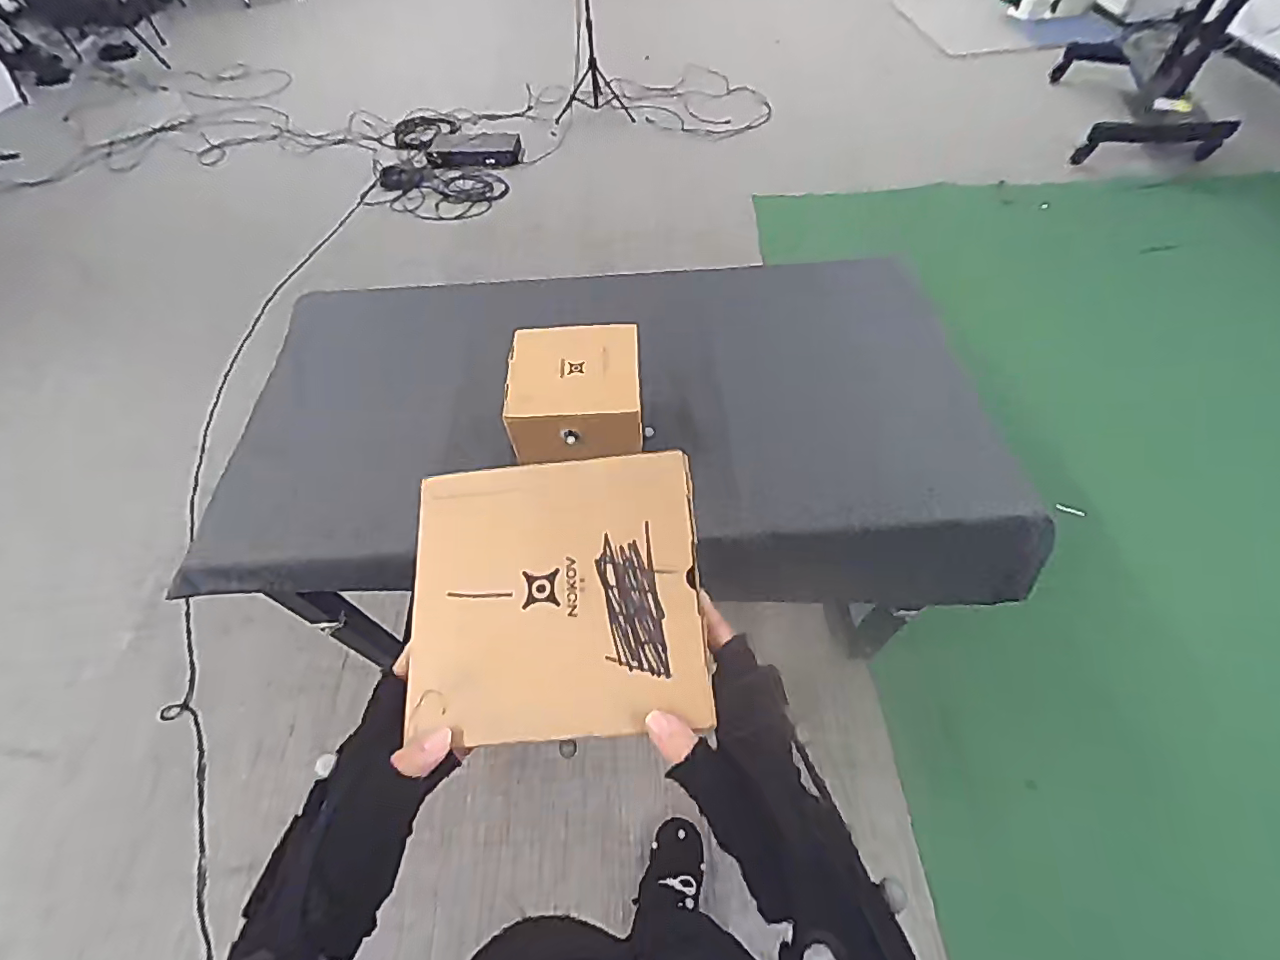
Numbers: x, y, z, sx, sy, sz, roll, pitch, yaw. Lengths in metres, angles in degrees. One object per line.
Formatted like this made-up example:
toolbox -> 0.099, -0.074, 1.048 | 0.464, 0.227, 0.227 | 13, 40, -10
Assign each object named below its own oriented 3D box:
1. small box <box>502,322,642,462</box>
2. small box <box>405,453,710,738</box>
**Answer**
small box -> -0.088, -0.107, 0.788 | 0.179, 0.176, 0.168 | -2, 58, -1
small box -> -0.047, 0.090, 0.405 | 0.179, 0.176, 0.168 | -5, 70, 2
